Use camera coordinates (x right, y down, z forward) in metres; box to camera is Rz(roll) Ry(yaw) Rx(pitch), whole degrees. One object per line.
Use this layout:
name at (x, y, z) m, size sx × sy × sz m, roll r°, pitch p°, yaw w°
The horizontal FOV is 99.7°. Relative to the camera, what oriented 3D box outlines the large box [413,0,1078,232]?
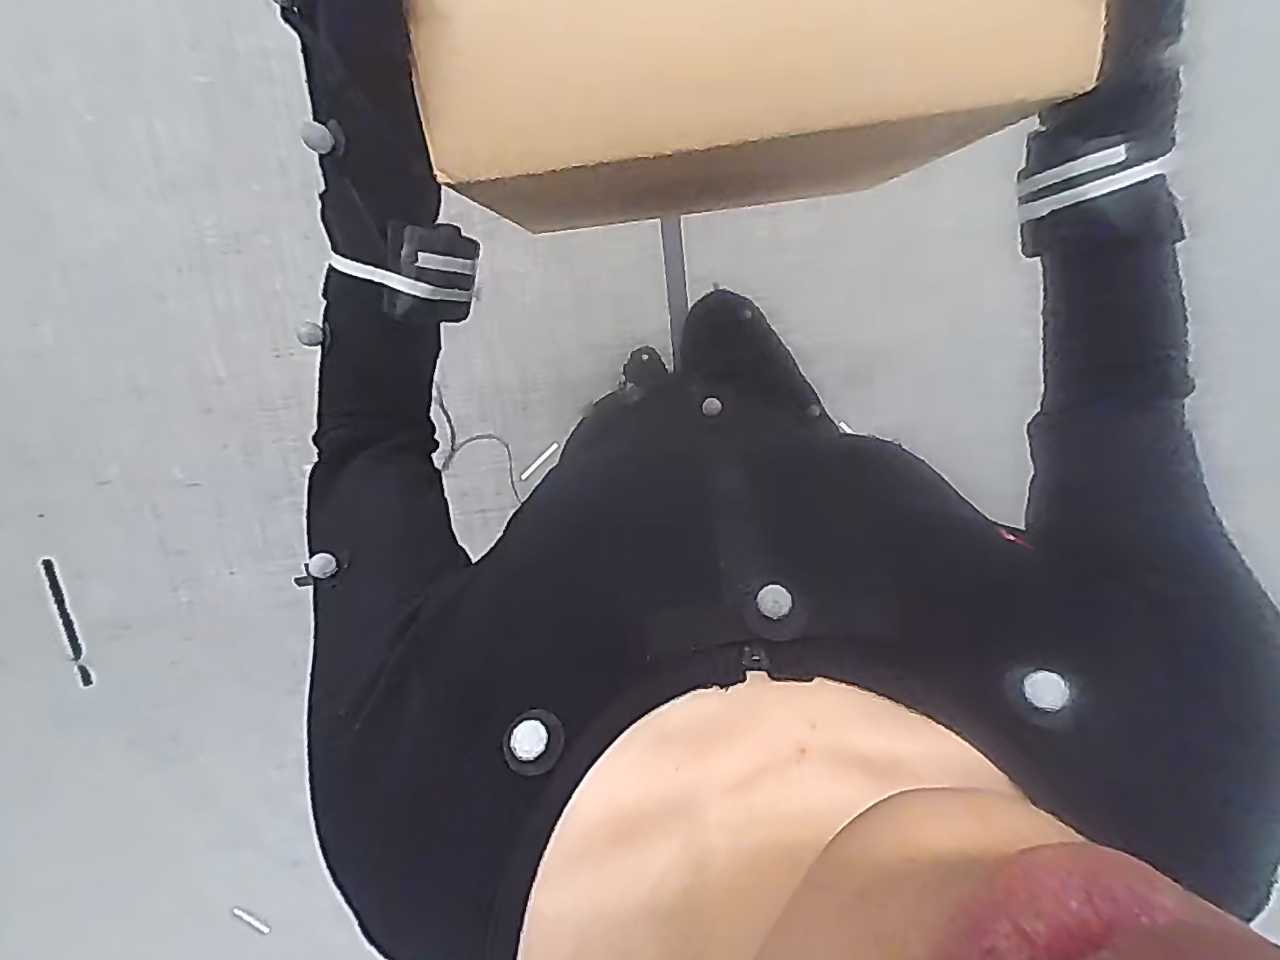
large box at (0.048, -0.415, 0.439) m, size 0.408 × 0.320 × 0.320 m, roll -8°, pitch 108°, yaw 2°
